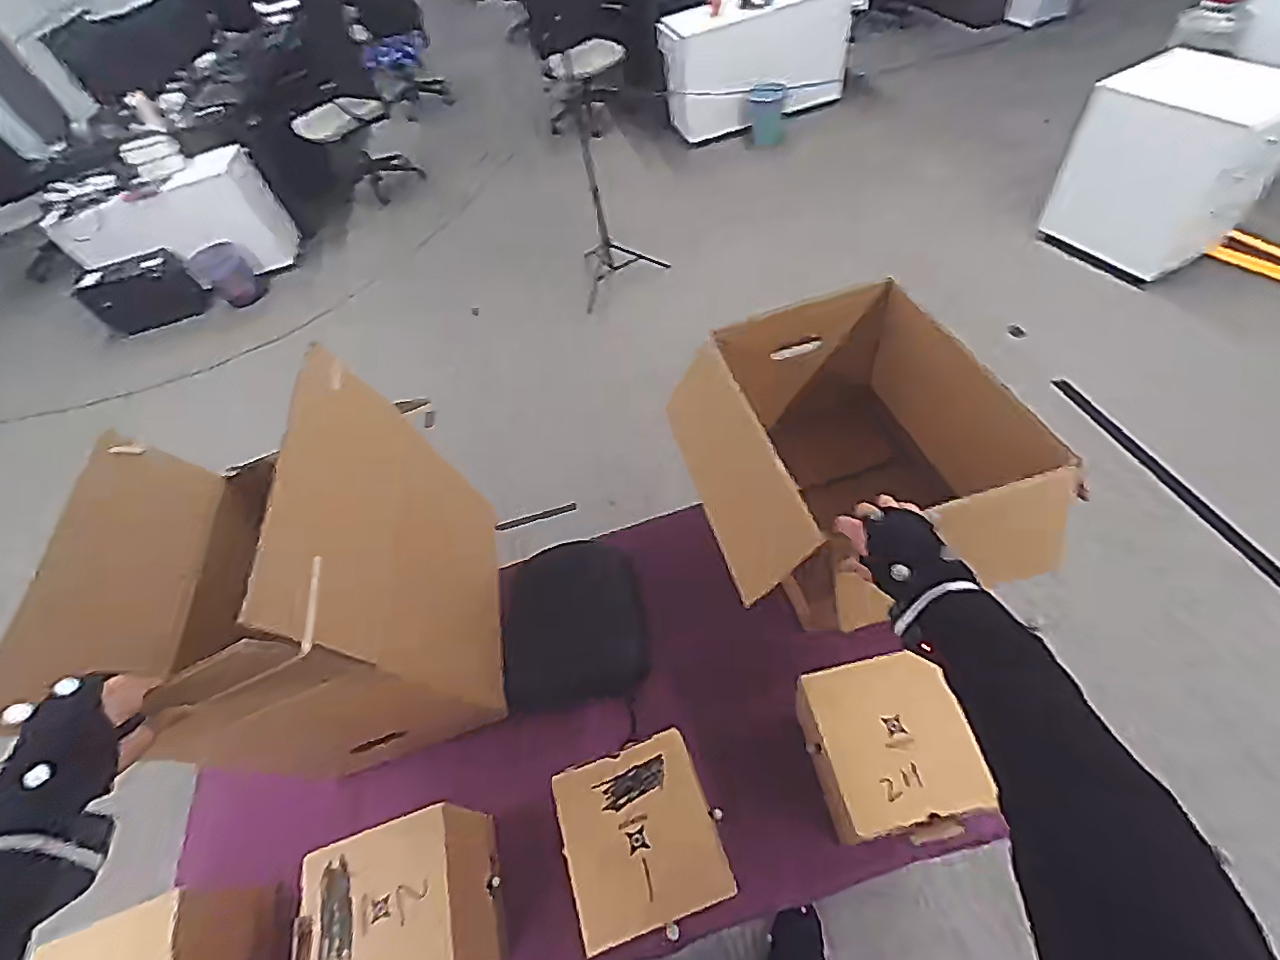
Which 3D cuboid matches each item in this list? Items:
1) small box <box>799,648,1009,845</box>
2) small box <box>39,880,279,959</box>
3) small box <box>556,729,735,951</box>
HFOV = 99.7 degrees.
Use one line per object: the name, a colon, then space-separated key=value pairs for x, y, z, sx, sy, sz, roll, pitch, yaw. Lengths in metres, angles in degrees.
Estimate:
small box: x=0.307 y=0.339 z=0.681 sx=0.168 sy=0.176 sz=0.179 roll=-14 pitch=53 yaw=3
small box: x=-0.591 y=0.622 z=0.664 sx=0.179 sy=0.176 sz=0.168 roll=-20 pitch=52 yaw=-5
small box: x=0.010 y=0.441 z=0.671 sx=0.168 sy=0.176 sz=0.179 roll=-20 pitch=53 yaw=-3
